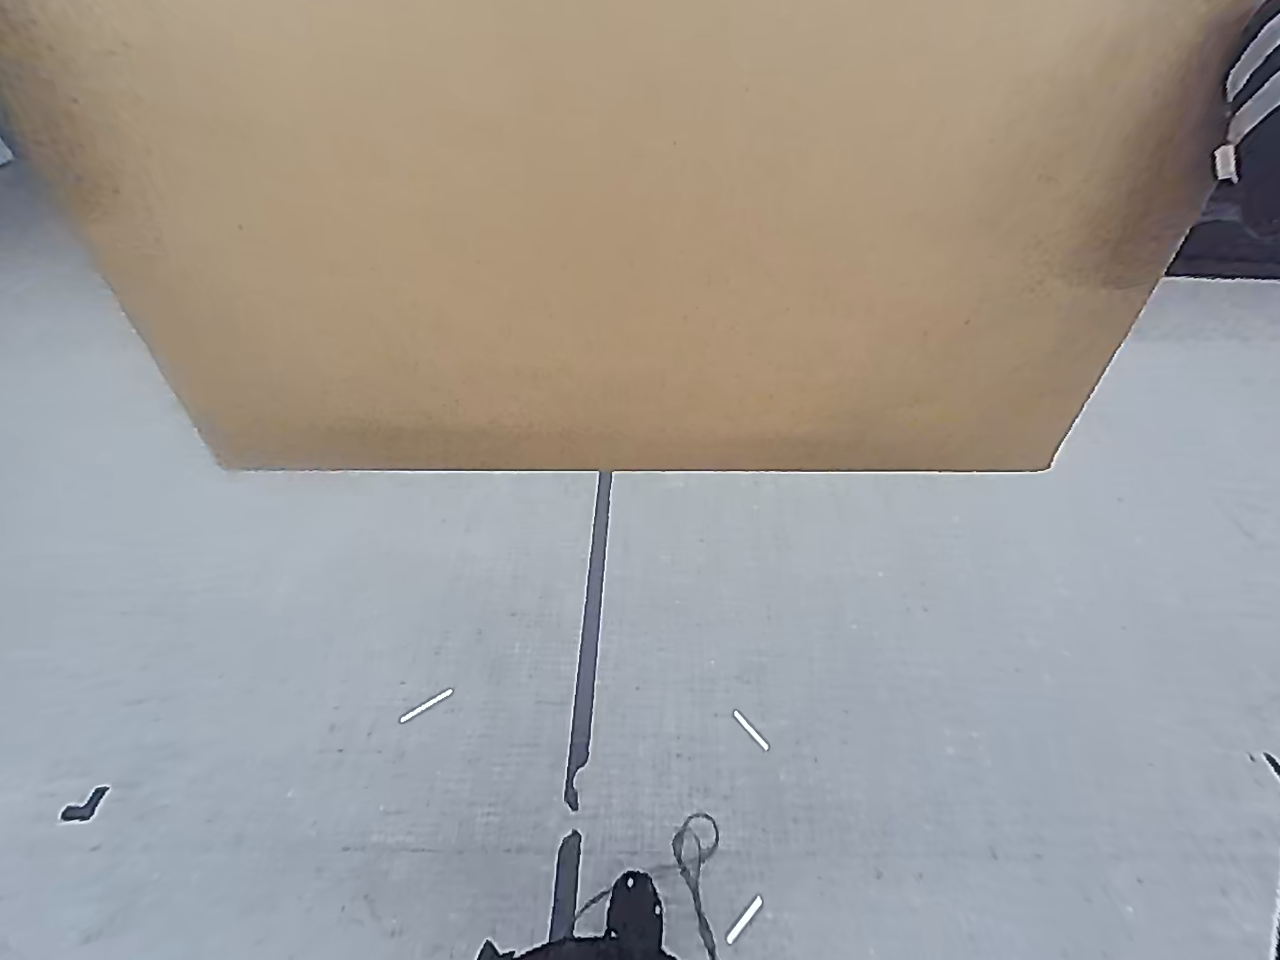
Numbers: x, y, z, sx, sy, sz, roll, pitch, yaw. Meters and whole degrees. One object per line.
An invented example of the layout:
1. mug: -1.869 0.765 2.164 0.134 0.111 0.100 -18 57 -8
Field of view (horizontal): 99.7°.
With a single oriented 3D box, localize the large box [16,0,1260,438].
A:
1. large box: -0.001 -0.230 0.295 0.408 0.320 0.320 1 40 -1
